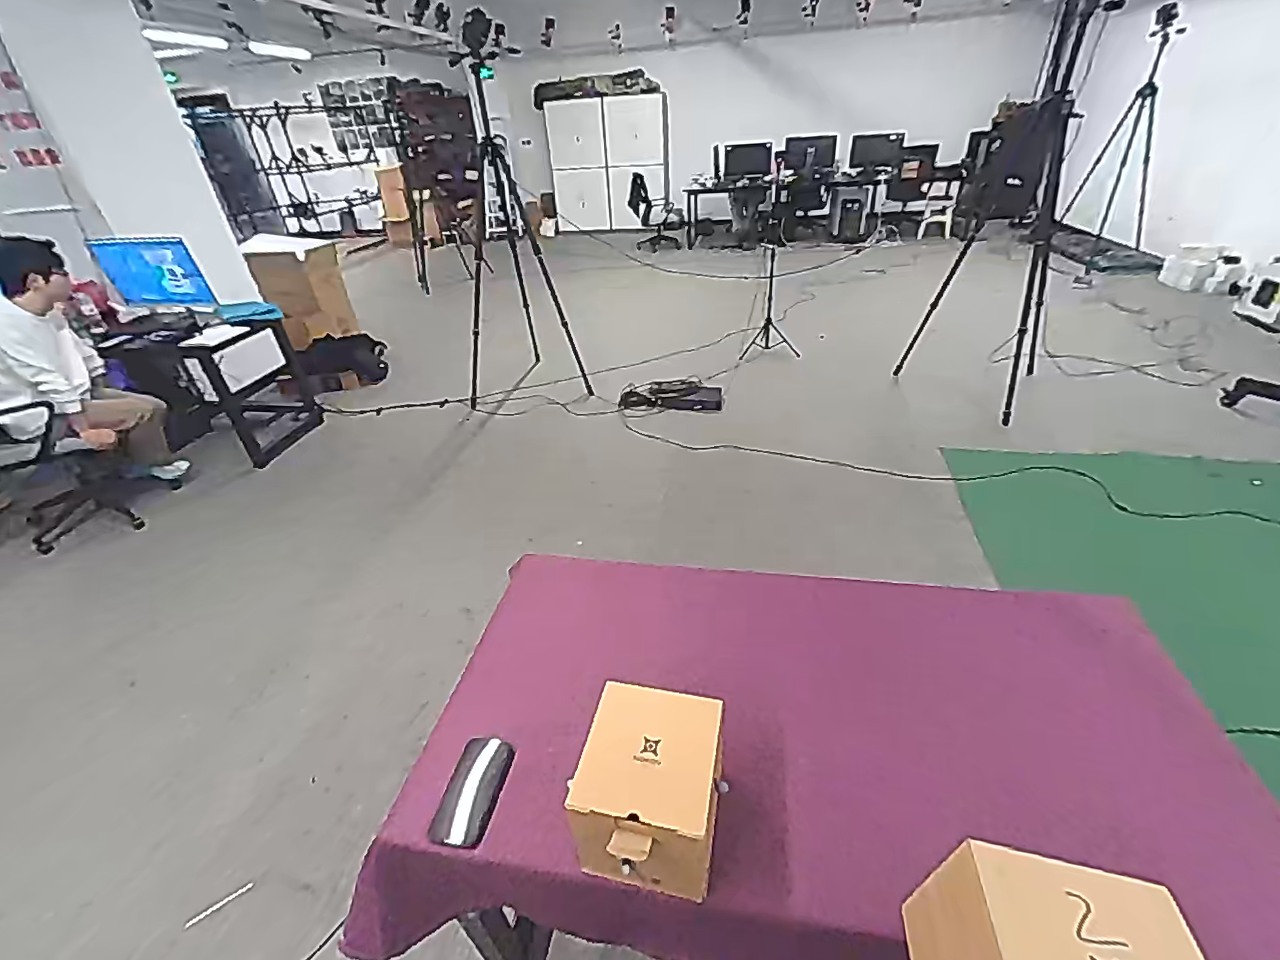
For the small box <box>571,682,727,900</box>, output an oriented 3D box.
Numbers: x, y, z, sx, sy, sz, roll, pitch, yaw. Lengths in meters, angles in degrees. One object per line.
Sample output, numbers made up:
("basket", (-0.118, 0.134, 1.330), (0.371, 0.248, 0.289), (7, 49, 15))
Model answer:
("small box", (0.019, 0.406, 0.718), (0.168, 0.176, 0.179), (6, 35, 13))
